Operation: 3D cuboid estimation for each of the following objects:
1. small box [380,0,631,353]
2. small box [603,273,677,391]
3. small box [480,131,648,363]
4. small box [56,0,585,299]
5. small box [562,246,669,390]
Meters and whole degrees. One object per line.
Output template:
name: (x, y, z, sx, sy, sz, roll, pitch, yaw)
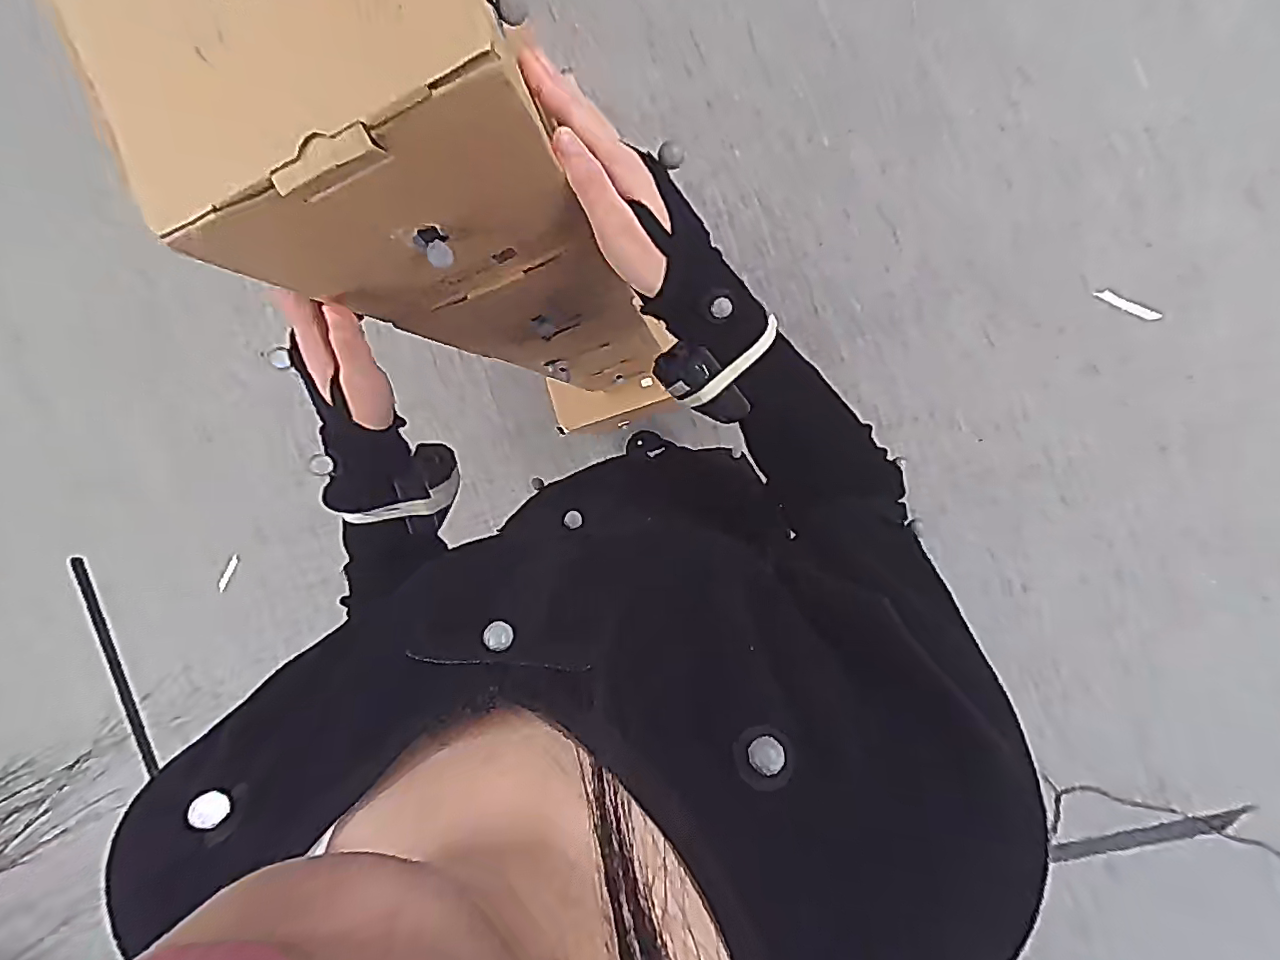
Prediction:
small box: (-0.119, -0.225, 0.450, 0.168, 0.176, 0.179, -19, 91, 9)
small box: (-0.032, -0.288, 1.097, 0.179, 0.176, 0.168, -20, 92, 7)
small box: (-0.097, -0.240, 0.614, 0.168, 0.176, 0.179, -17, 92, 8)
small box: (-0.145, -0.214, 0.290, 0.168, 0.176, 0.179, -21, 92, 9)
small box: (-0.055, -0.268, 0.938, 0.168, 0.176, 0.179, -19, 92, 9)
